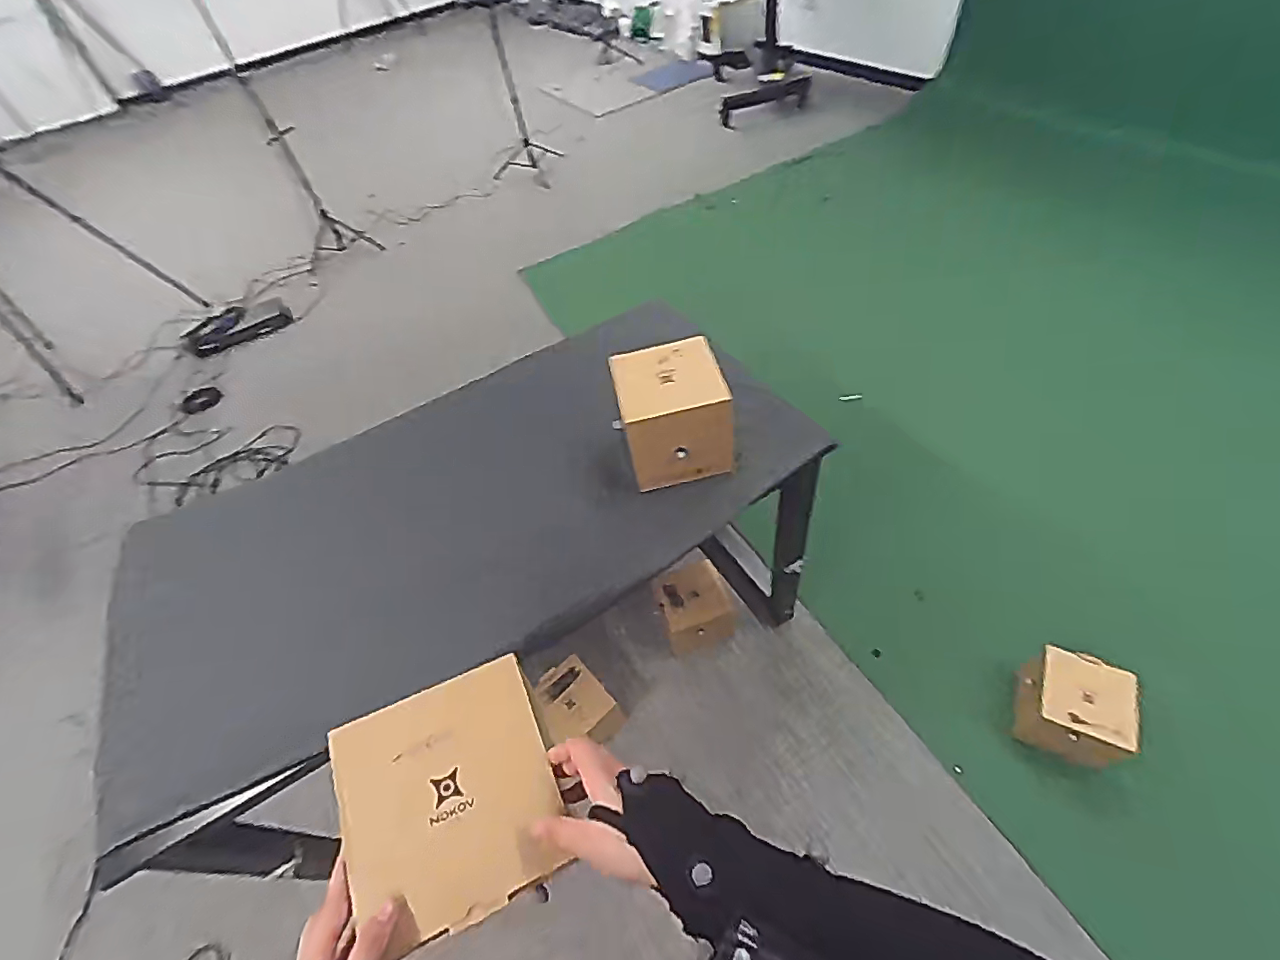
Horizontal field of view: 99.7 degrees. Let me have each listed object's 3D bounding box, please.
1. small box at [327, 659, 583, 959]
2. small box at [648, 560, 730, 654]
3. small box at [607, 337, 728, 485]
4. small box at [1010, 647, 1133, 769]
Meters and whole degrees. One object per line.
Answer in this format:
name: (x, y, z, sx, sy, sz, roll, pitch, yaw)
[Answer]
small box: (-0.157, 0.296, 0.500, 0.168, 0.176, 0.179, -19, 60, -15)
small box: (0.136, 0.351, 1.477, 0.179, 0.176, 0.168, -18, 52, -7)
small box: (0.049, -0.109, 0.915, 0.168, 0.176, 0.179, -13, 49, 0)
small box: (0.958, 0.512, 1.211, 0.168, 0.176, 0.179, 18, 56, 22)
